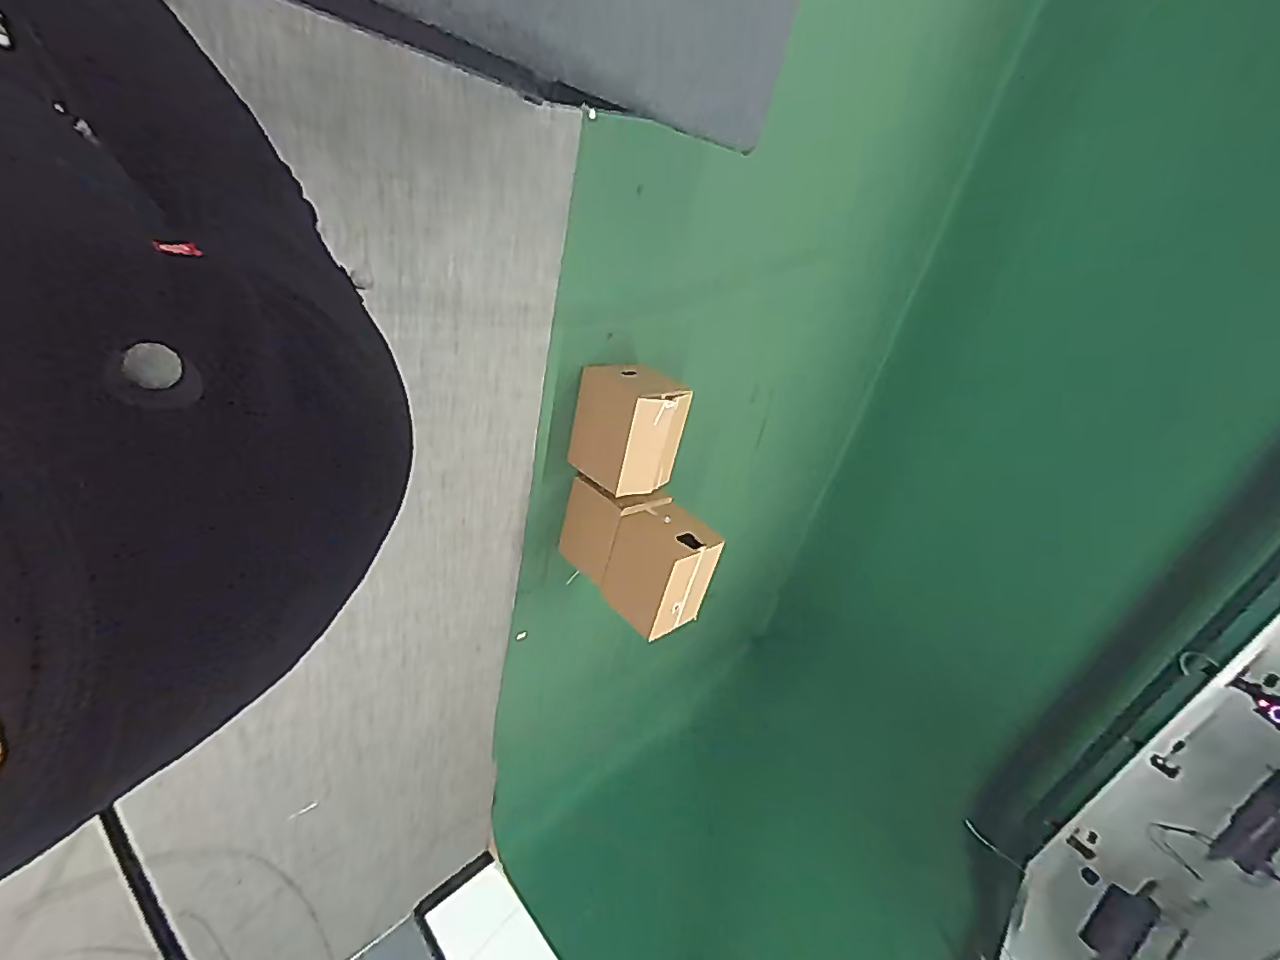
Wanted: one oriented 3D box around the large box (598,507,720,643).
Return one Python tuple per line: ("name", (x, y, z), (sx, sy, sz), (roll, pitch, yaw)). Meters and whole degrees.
("large box", (0.068, 0.376, 2.219), (0.320, 0.320, 0.408), (-11, 127, -45))
